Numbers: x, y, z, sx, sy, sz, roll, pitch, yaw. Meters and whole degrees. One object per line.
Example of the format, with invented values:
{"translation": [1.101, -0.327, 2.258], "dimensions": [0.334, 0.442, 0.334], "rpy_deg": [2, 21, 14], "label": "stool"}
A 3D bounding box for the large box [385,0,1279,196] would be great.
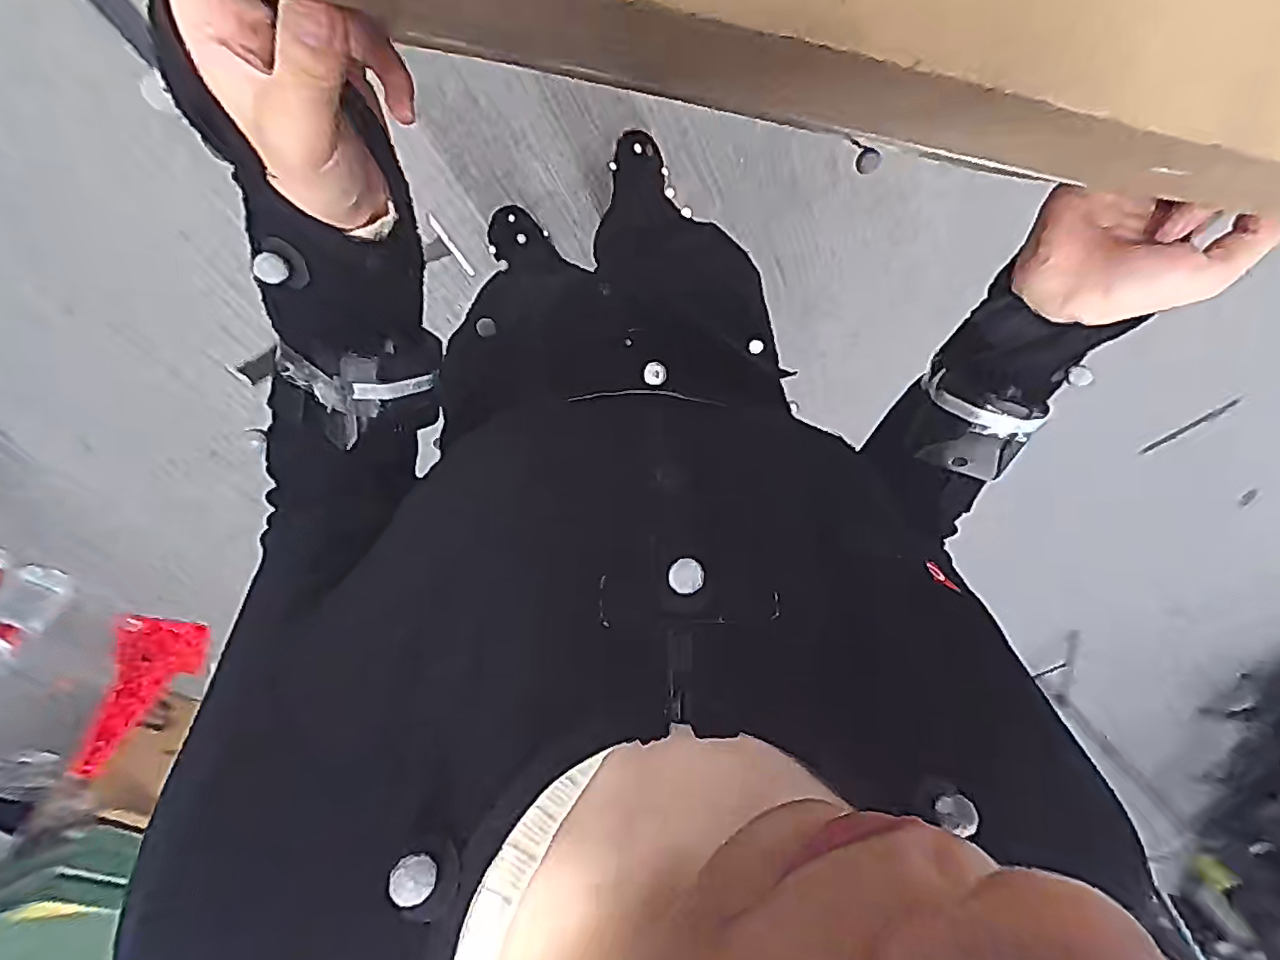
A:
{"translation": [0.107, -0.296, 0.148], "dimensions": [0.408, 0.320, 0.320], "rpy_deg": [3, 125, -14], "label": "large box"}
